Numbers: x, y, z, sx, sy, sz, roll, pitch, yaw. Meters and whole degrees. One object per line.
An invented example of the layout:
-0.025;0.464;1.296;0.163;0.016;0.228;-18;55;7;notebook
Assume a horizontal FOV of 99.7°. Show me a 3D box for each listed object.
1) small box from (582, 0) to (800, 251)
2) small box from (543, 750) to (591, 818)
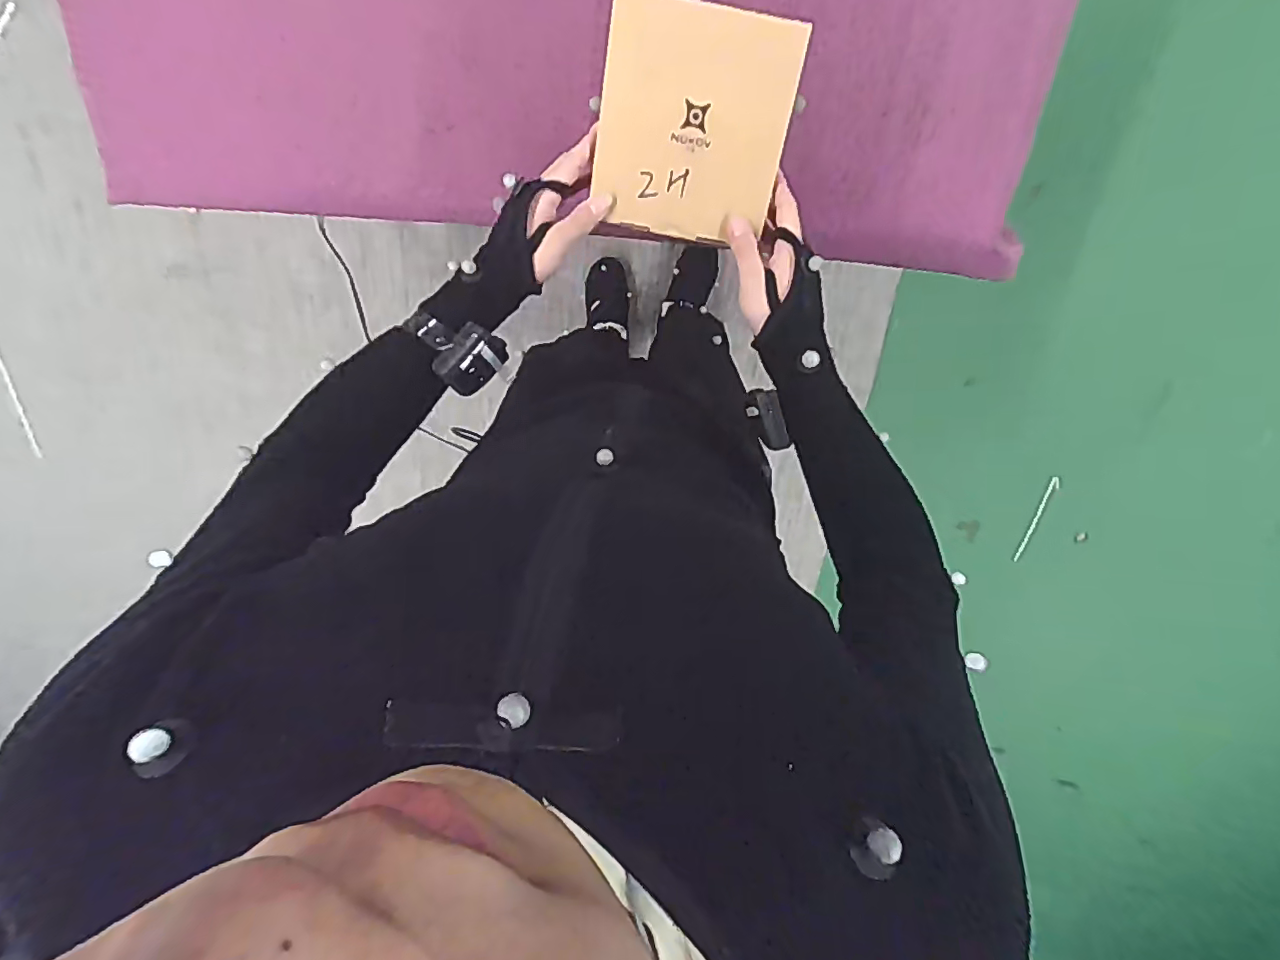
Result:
0.043;-0.343;0.553;0.168;0.176;0.179;11;115;-2;small box
-0.292;1.225;2.183;0.168;0.176;0.179;7;115;-2;small box
